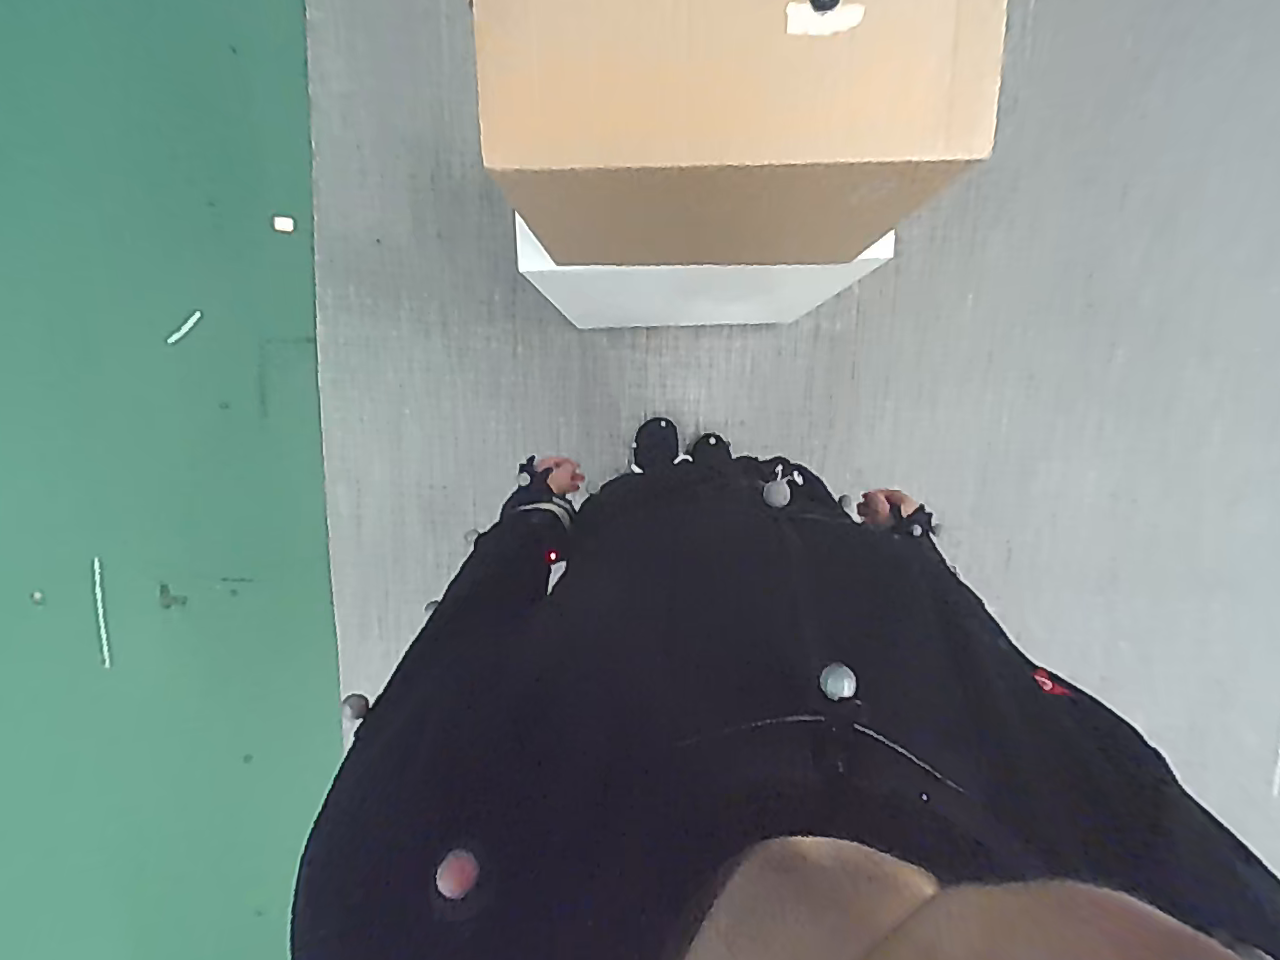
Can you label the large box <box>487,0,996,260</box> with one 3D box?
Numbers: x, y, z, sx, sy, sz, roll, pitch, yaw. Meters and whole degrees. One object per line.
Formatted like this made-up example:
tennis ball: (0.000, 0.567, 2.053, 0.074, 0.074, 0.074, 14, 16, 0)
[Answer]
large box: (0.077, -0.434, 0.562, 0.408, 0.320, 0.320, -1, 98, 1)
